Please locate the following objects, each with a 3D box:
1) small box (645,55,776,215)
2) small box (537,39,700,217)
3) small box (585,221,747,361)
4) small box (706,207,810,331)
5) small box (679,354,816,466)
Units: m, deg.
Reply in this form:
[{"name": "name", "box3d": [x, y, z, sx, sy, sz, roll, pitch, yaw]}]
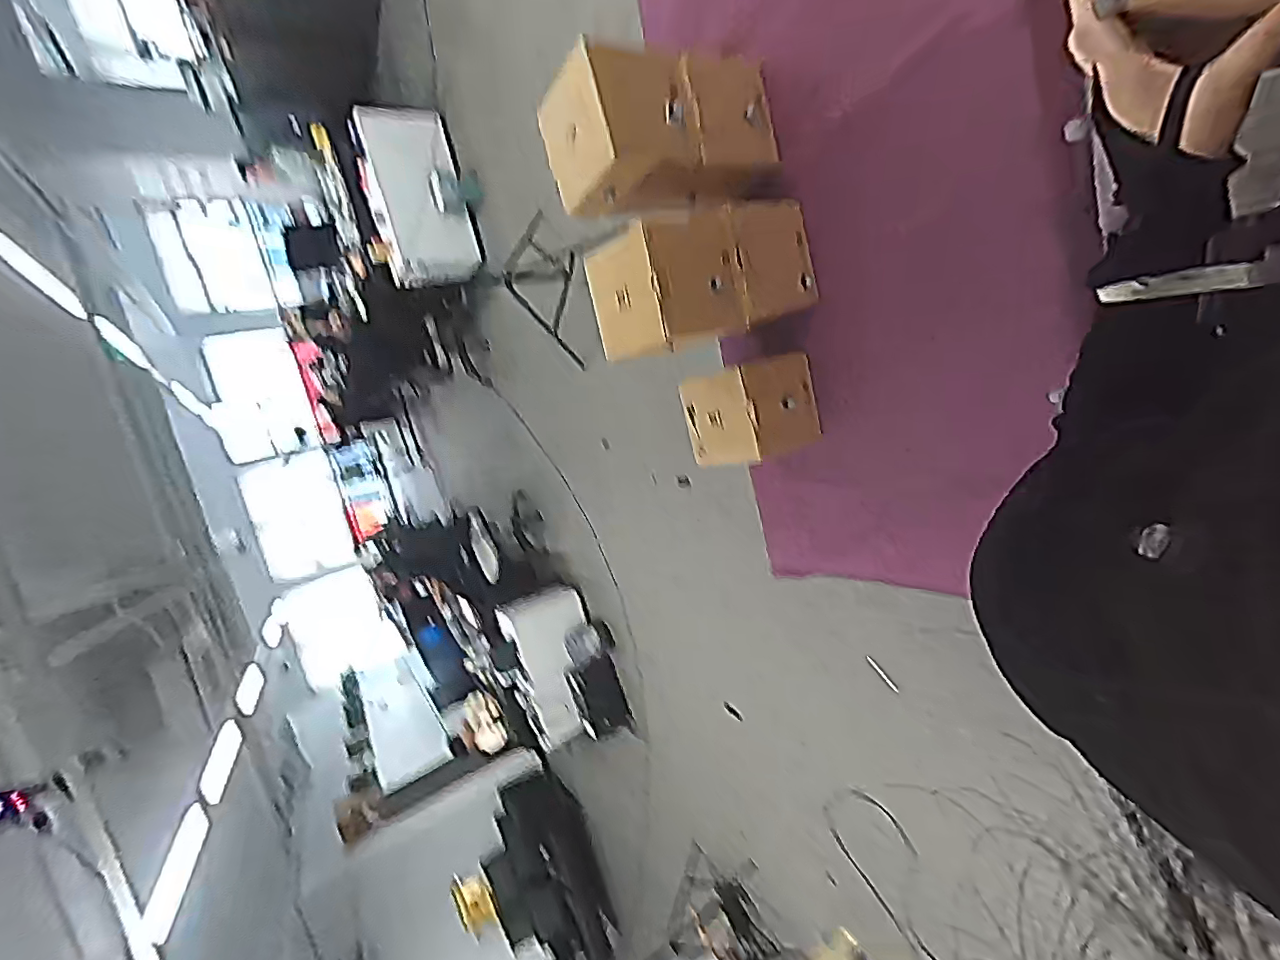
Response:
[{"name": "small box", "box3d": [0.101, -0.575, 0.926, 0.179, 0.176, 0.168, -4, 103, 58]}, {"name": "small box", "box3d": [-0.035, -0.534, 0.848, 0.179, 0.176, 0.168, -9, 99, 58]}, {"name": "small box", "box3d": [0.040, -0.295, 0.859, 0.179, 0.176, 0.168, -1, 106, 57]}, {"name": "small box", "box3d": [0.172, -0.355, 0.935, 0.179, 0.176, 0.168, -4, 102, 59]}, {"name": "small box", "box3d": [0.205, -0.128, 1.005, 0.179, 0.176, 0.168, -2, 105, 57]}]
